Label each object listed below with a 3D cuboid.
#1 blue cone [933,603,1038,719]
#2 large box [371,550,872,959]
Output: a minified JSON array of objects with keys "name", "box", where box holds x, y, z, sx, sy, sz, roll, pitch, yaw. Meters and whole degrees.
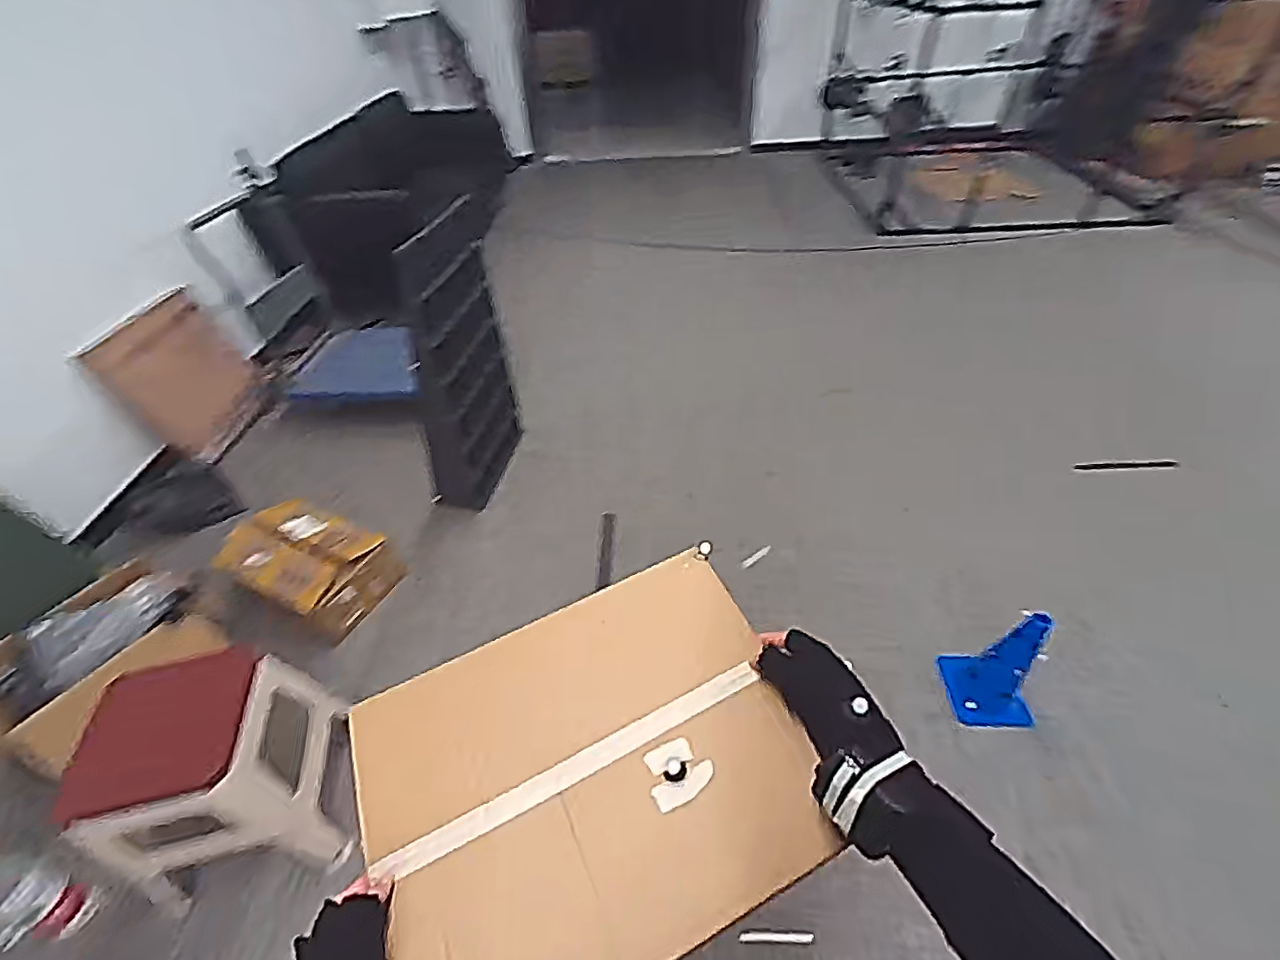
[{"name":"blue cone","box":[0.931,0.448,1.394,0.193,0.380,0.192,1,43,5]},{"name":"large box","box":[-0.028,0.355,0.625,0.408,0.320,0.320,-22,52,-13]}]
